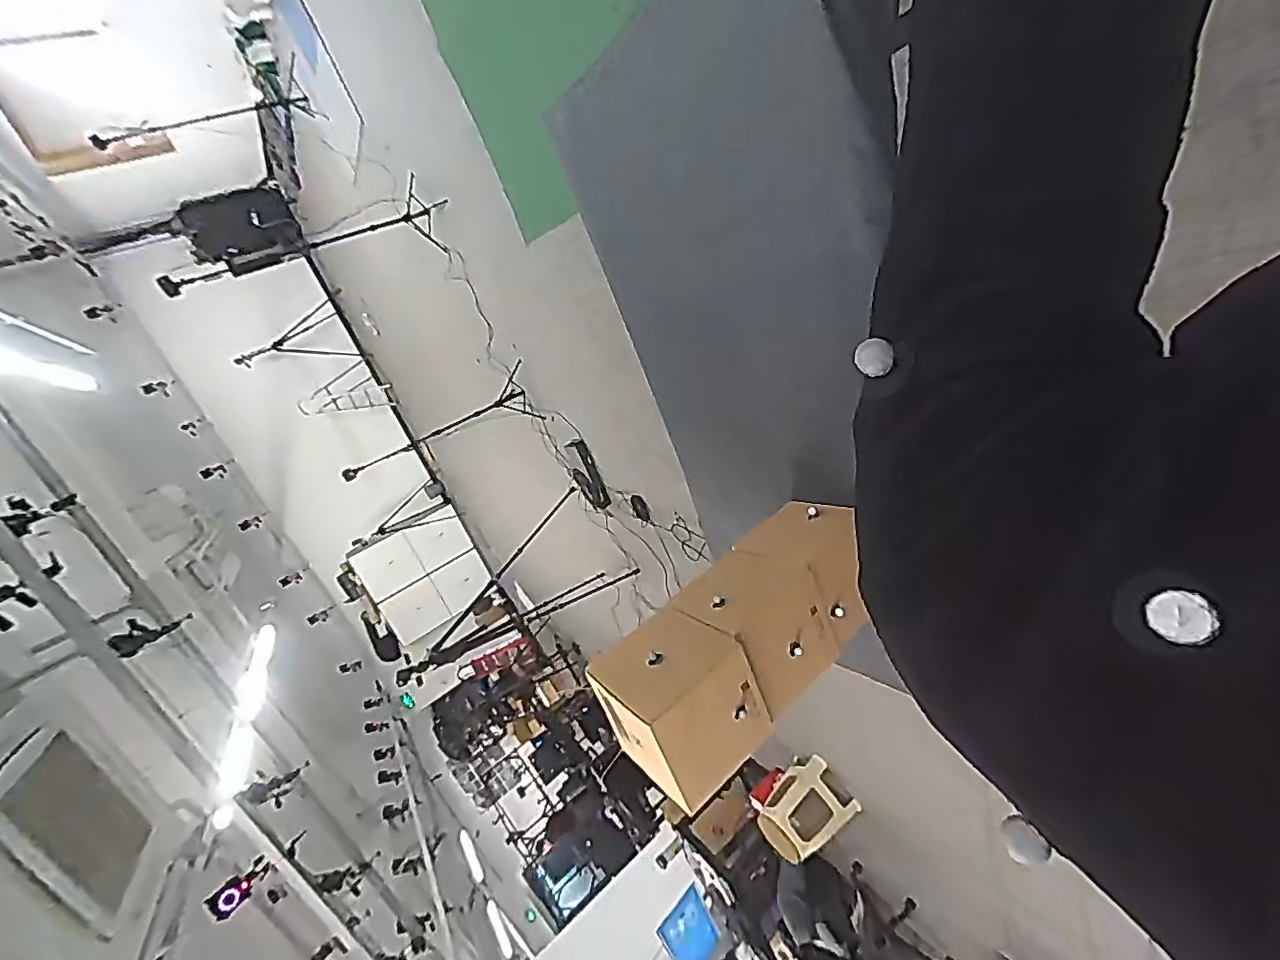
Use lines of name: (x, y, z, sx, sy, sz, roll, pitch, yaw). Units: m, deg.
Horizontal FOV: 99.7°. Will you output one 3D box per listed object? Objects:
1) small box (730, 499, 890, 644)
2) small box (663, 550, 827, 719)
small box: (0.292, 0.145, 0.933, 0.179, 0.176, 0.168, 6, 124, 59)
small box: (0.172, 0.230, 0.858, 0.179, 0.176, 0.168, 7, 124, 58)
